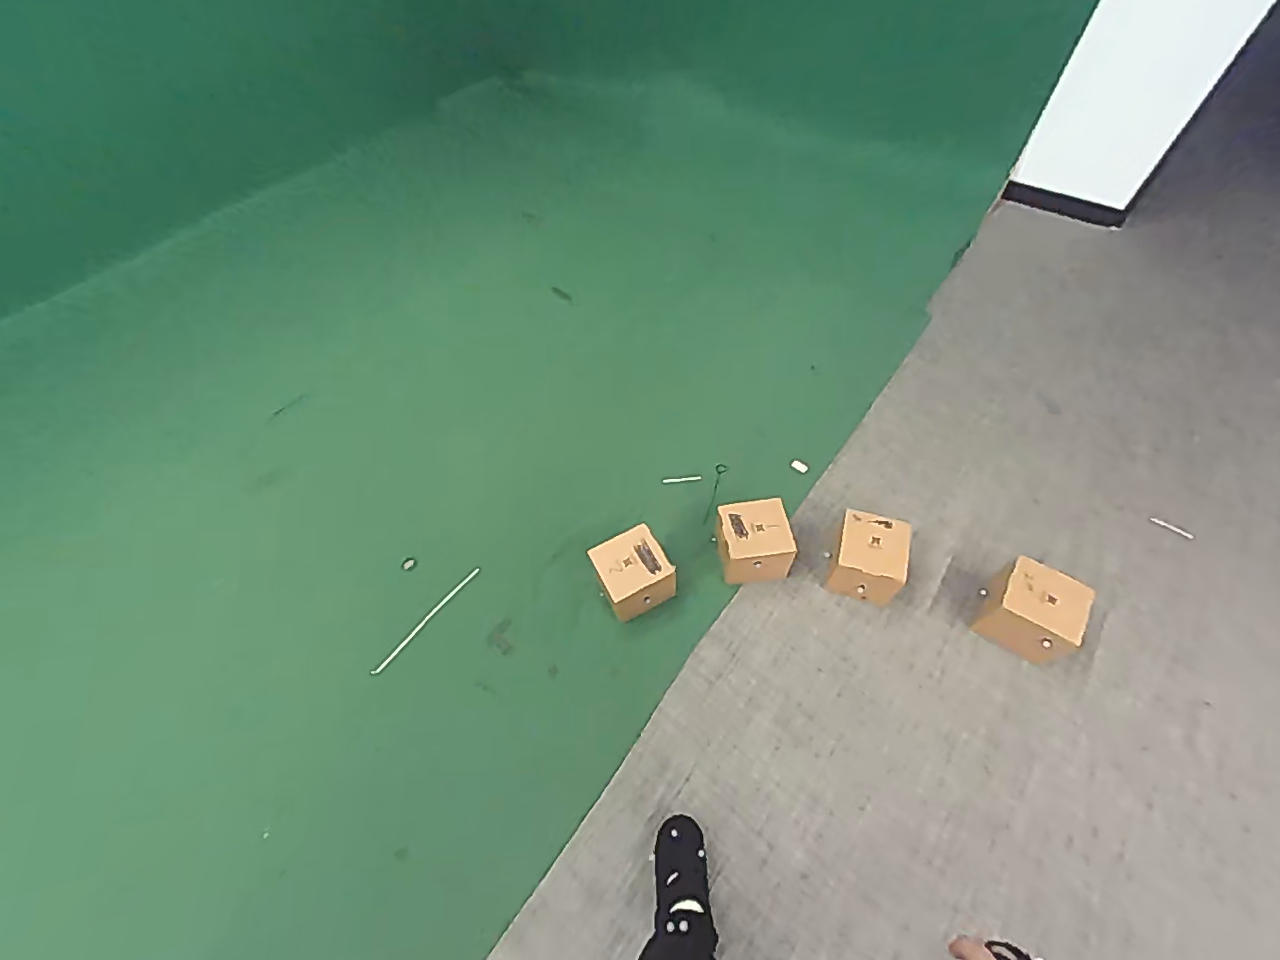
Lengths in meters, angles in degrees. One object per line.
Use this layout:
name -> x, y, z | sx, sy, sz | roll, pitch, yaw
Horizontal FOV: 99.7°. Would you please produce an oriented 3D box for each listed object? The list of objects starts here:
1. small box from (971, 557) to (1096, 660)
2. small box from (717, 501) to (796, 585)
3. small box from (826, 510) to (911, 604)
small box -> 0.975, 0.329, 1.352 | 0.179, 0.176, 0.168 | 30, 63, 20
small box -> 0.313, 0.179, 1.495 | 0.179, 0.176, 0.168 | -7, 56, -2
small box -> 0.608, 0.213, 1.453 | 0.168, 0.176, 0.179 | 15, 59, 13
